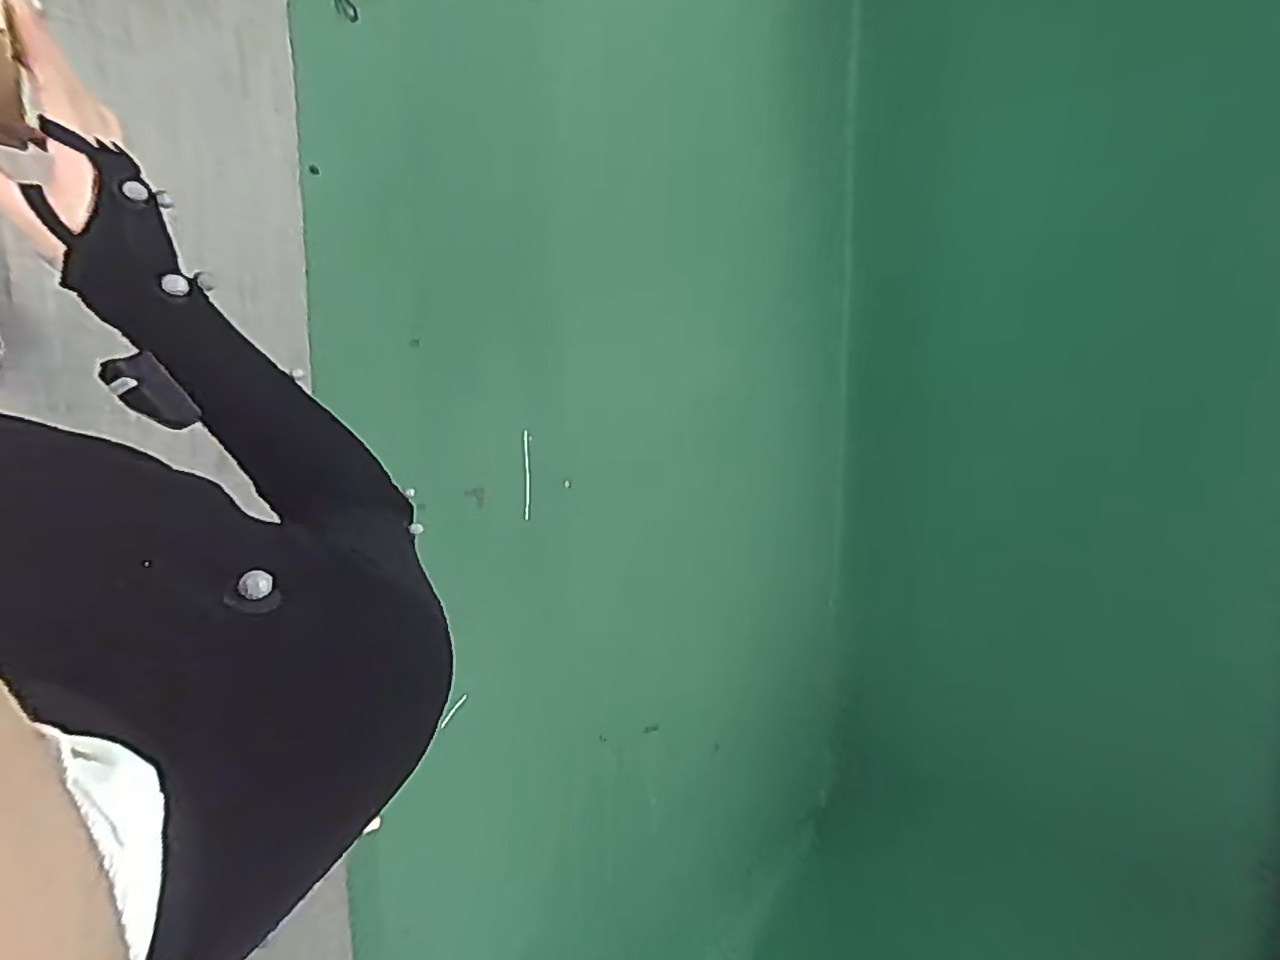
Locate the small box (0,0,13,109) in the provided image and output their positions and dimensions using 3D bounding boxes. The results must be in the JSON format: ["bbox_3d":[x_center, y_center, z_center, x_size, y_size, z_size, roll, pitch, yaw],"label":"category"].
[{"bbox_3d":[-0.464,-0.328,0.272,0.179,0.176,0.168,-6,98,-45],"label":"small box"}]
